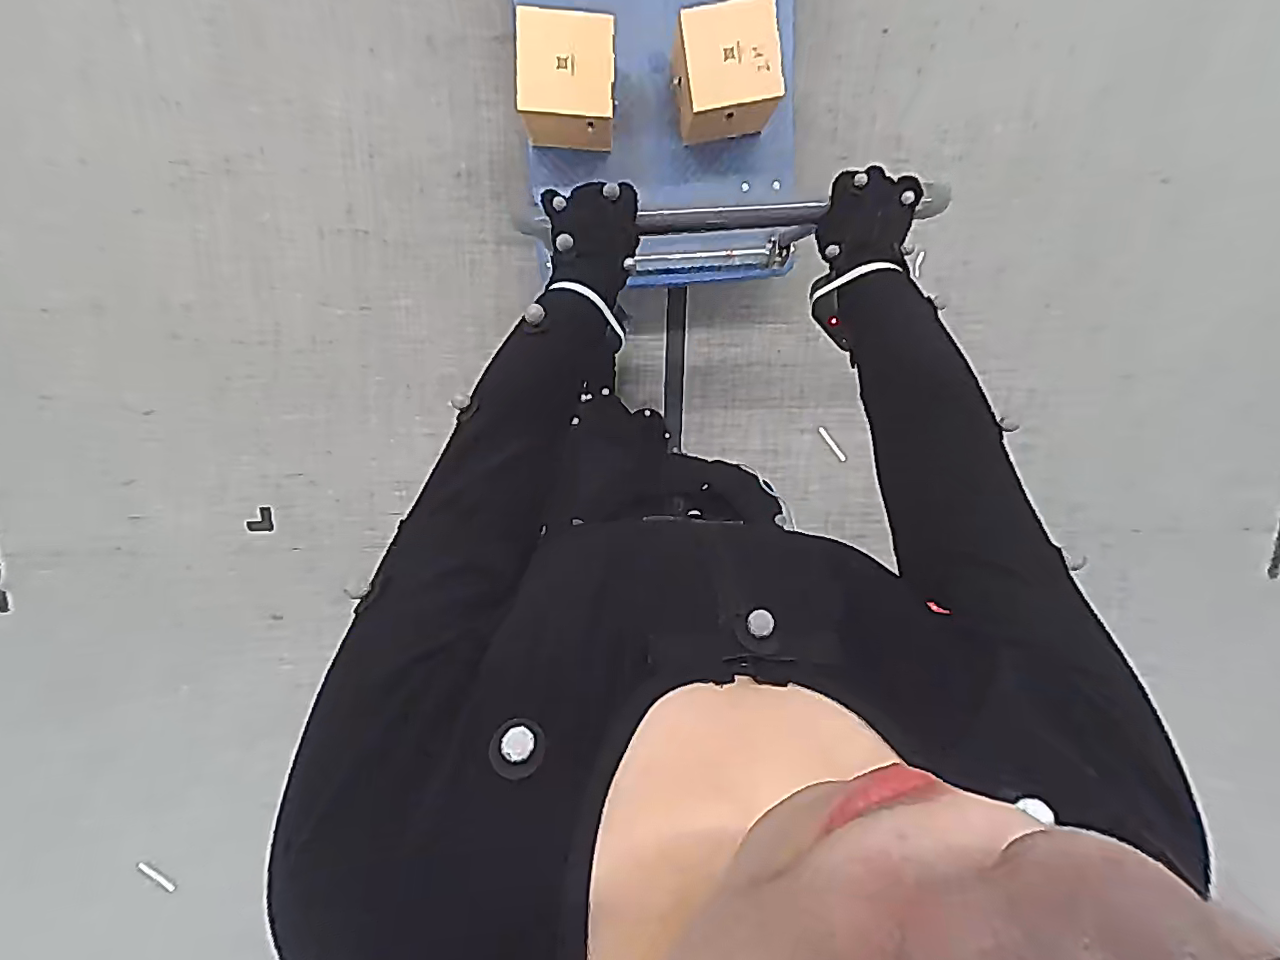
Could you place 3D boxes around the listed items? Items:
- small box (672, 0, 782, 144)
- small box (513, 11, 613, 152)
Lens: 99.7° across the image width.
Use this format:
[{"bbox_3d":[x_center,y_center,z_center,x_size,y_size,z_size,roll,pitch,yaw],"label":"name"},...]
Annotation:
[{"bbox_3d":[0.160,-0.782,1.053,0.179,0.176,0.168,-11,104,0],"label":"small box"},{"bbox_3d":[-0.143,-0.757,1.045,0.179,0.176,0.168,1,103,-5],"label":"small box"}]
